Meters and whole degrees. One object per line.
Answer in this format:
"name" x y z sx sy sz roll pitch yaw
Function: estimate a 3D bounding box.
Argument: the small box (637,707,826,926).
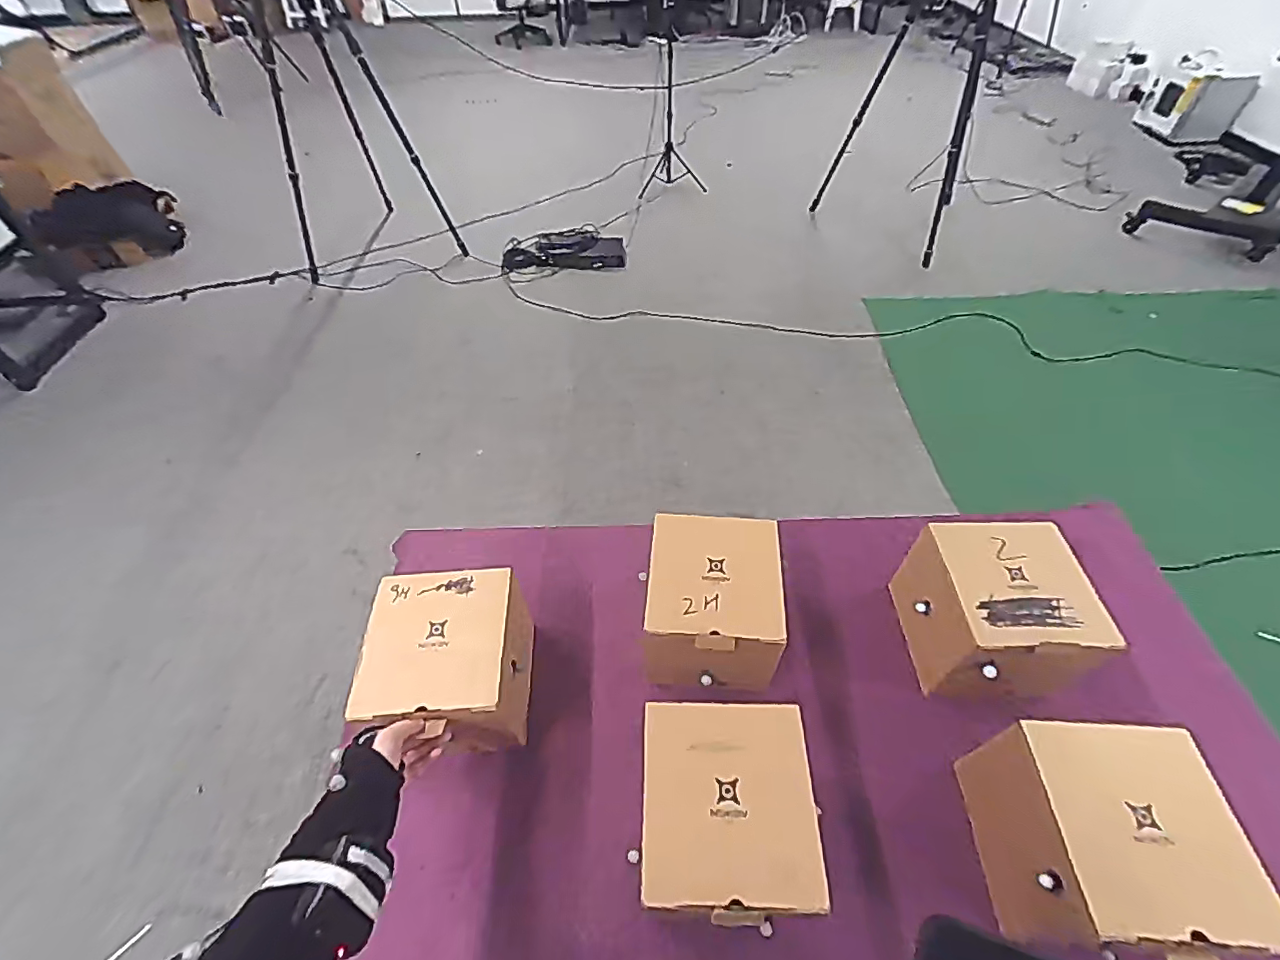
"small box" 0.085 0.361 0.578 0.168 0.176 0.179 1 49 2

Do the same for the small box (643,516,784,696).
"small box" 0.095 0.172 0.737 0.168 0.176 0.179 3 50 6

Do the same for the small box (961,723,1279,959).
"small box" 0.463 0.370 0.552 0.168 0.176 0.179 2 50 4

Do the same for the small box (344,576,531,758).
"small box" -0.237 0.243 0.688 0.168 0.176 0.179 -3 51 -2
